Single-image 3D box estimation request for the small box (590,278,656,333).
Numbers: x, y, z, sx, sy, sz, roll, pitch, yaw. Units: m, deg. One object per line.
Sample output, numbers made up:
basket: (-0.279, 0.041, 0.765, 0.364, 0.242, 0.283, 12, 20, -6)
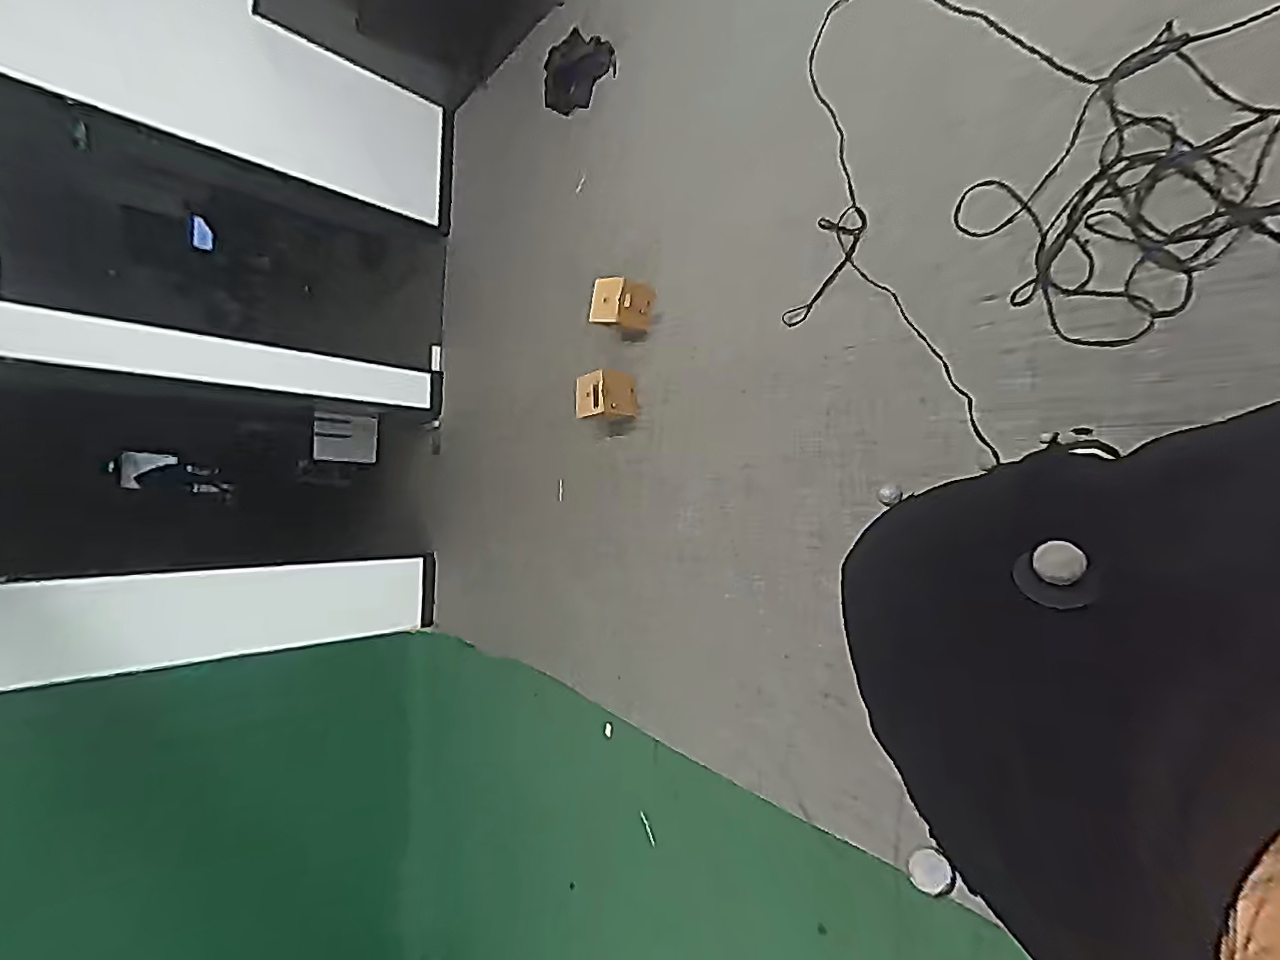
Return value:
small box: (-0.066, -0.670, 2.088, 0.179, 0.176, 0.168, 18, 100, 46)
